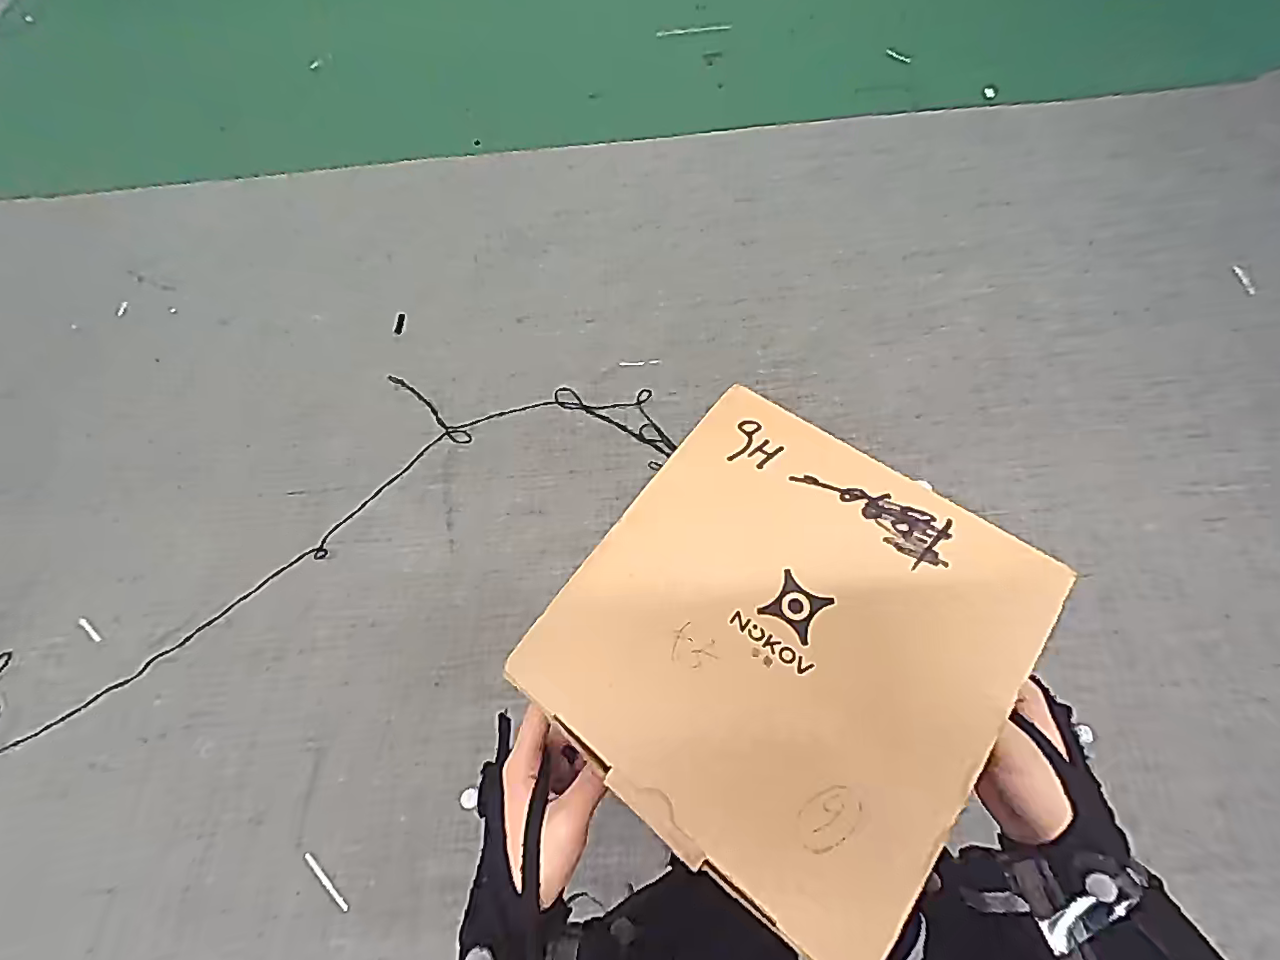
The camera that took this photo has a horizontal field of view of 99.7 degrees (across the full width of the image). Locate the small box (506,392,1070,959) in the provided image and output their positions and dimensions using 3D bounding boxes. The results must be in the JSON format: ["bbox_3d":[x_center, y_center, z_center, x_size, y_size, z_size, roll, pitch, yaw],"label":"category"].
[{"bbox_3d":[0.067,0.094,0.293,0.168,0.176,0.179,35,74,21],"label":"small box"}]
